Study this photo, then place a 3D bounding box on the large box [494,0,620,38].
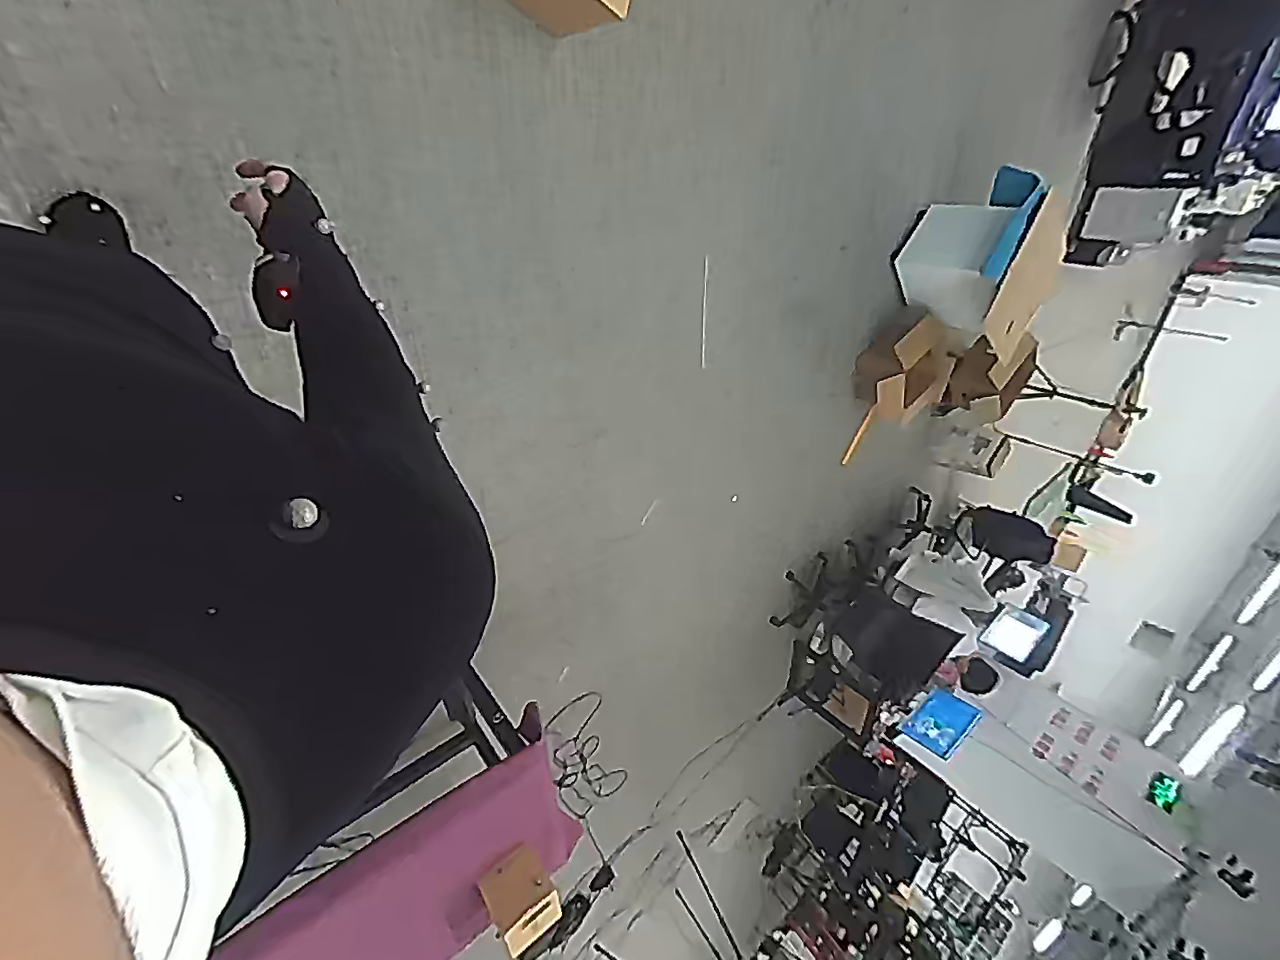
[{"bbox_3d":[-0.250,-1.298,1.217,0.408,0.320,0.320,3,110,-44],"label":"large box"}]
